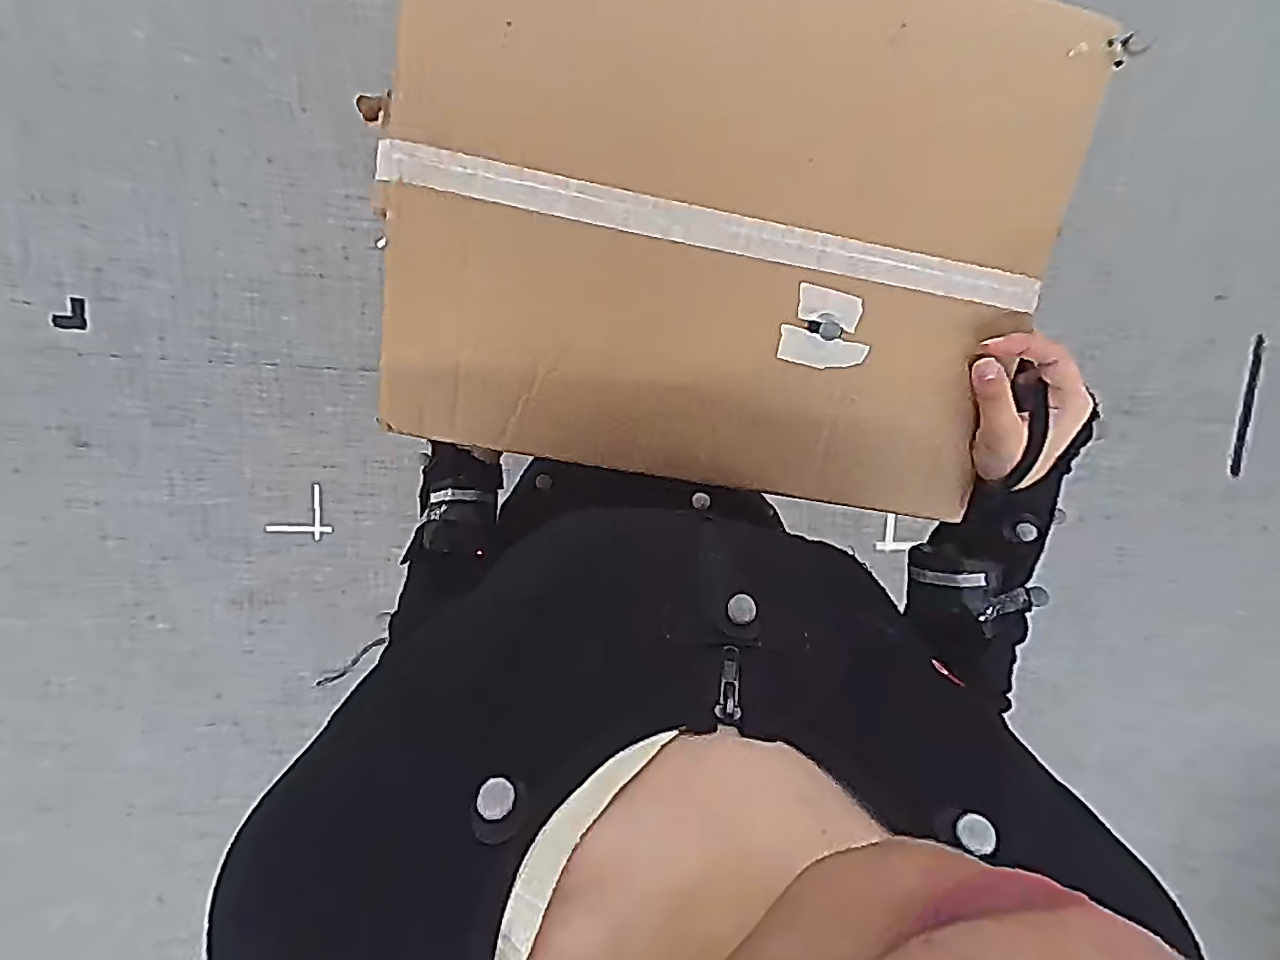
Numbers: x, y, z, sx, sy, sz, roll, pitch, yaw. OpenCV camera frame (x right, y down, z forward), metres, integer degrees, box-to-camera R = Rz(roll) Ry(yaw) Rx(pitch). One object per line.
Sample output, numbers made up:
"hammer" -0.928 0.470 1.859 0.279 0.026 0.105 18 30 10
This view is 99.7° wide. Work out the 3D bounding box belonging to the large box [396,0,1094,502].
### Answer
"large box" 0.044 -0.191 0.479 0.408 0.320 0.320 8 105 -8
